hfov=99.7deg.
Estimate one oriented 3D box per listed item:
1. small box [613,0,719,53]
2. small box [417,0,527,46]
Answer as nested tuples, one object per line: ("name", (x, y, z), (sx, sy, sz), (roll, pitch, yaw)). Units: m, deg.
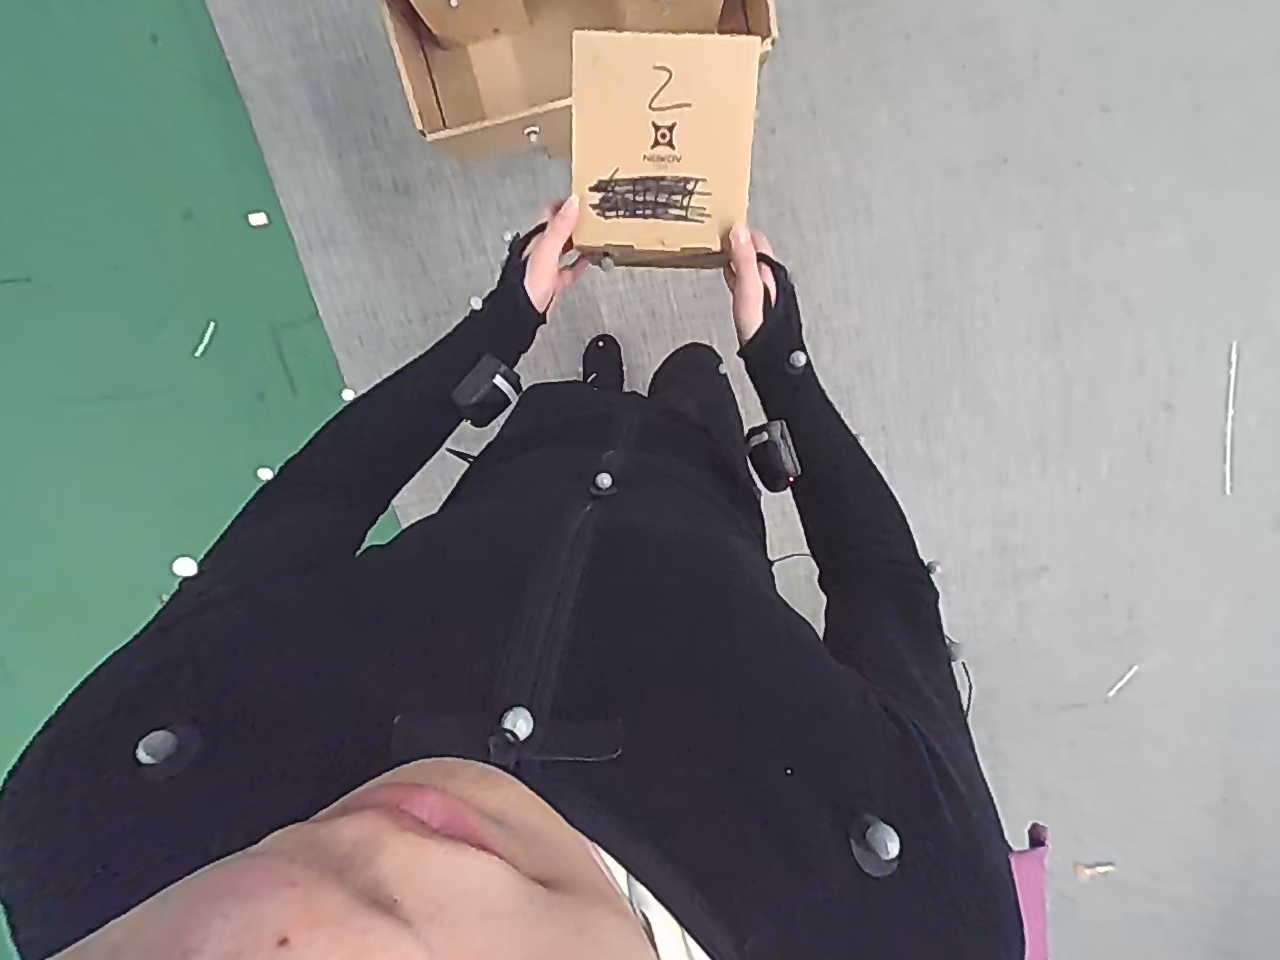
("small box", (0.035, -0.843, 0.886), (0.168, 0.176, 0.179), (-13, 105, 3))
("small box", (-0.294, -0.860, 0.879), (0.168, 0.176, 0.179), (-11, 106, 2))
